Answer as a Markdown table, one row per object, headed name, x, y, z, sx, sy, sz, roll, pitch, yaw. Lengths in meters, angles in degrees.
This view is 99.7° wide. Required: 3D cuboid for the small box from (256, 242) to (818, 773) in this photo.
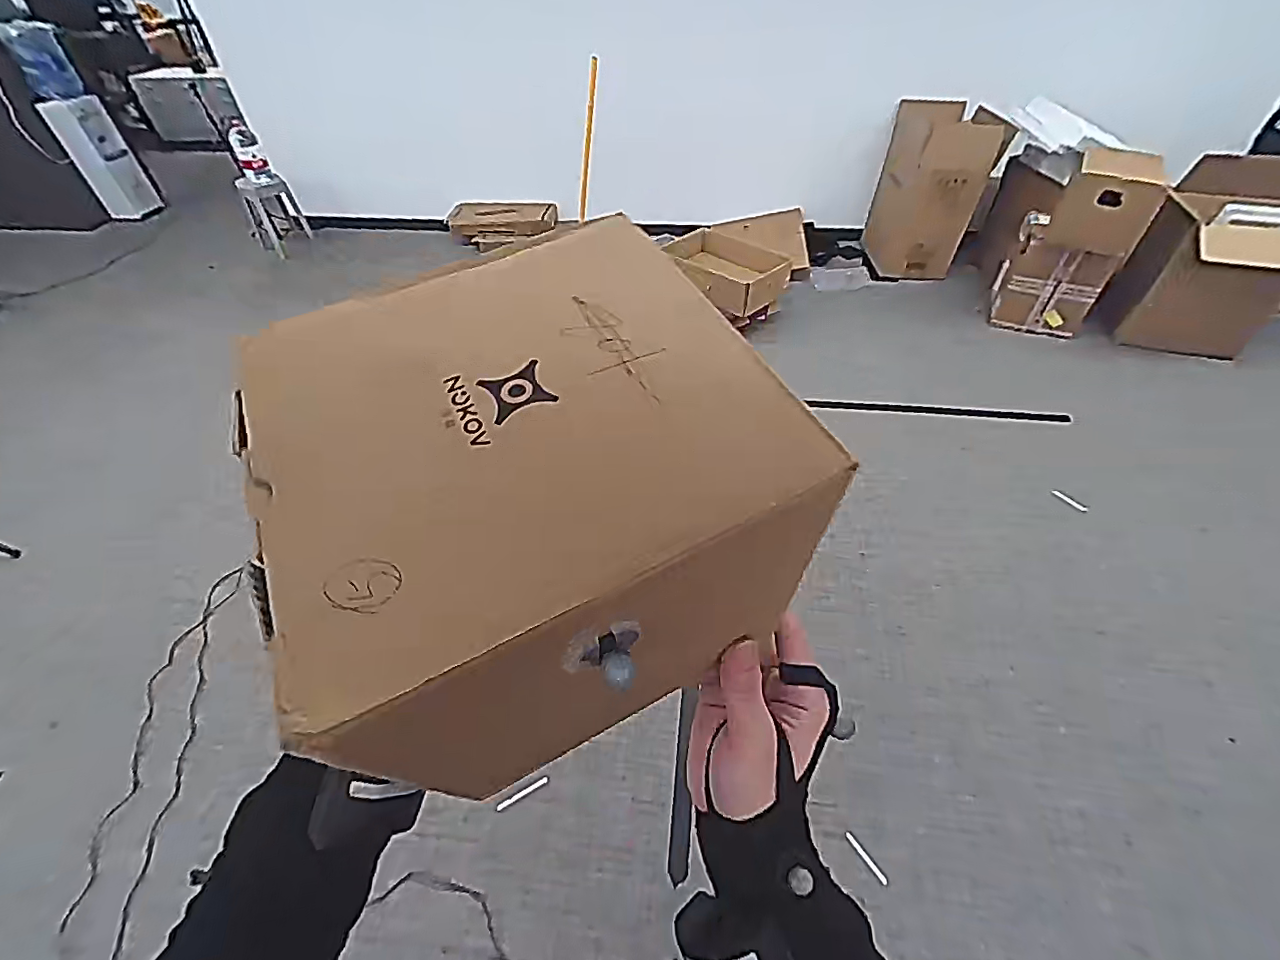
| name | x | y | z | sx | sy | sz | roll | pitch | yaw |
| --- | --- | --- | --- | --- | --- | --- | --- | --- | --- |
| small box | -0.044 | 0.021 | 0.273 | 0.179 | 0.176 | 0.168 | -26 | 59 | -14 |
